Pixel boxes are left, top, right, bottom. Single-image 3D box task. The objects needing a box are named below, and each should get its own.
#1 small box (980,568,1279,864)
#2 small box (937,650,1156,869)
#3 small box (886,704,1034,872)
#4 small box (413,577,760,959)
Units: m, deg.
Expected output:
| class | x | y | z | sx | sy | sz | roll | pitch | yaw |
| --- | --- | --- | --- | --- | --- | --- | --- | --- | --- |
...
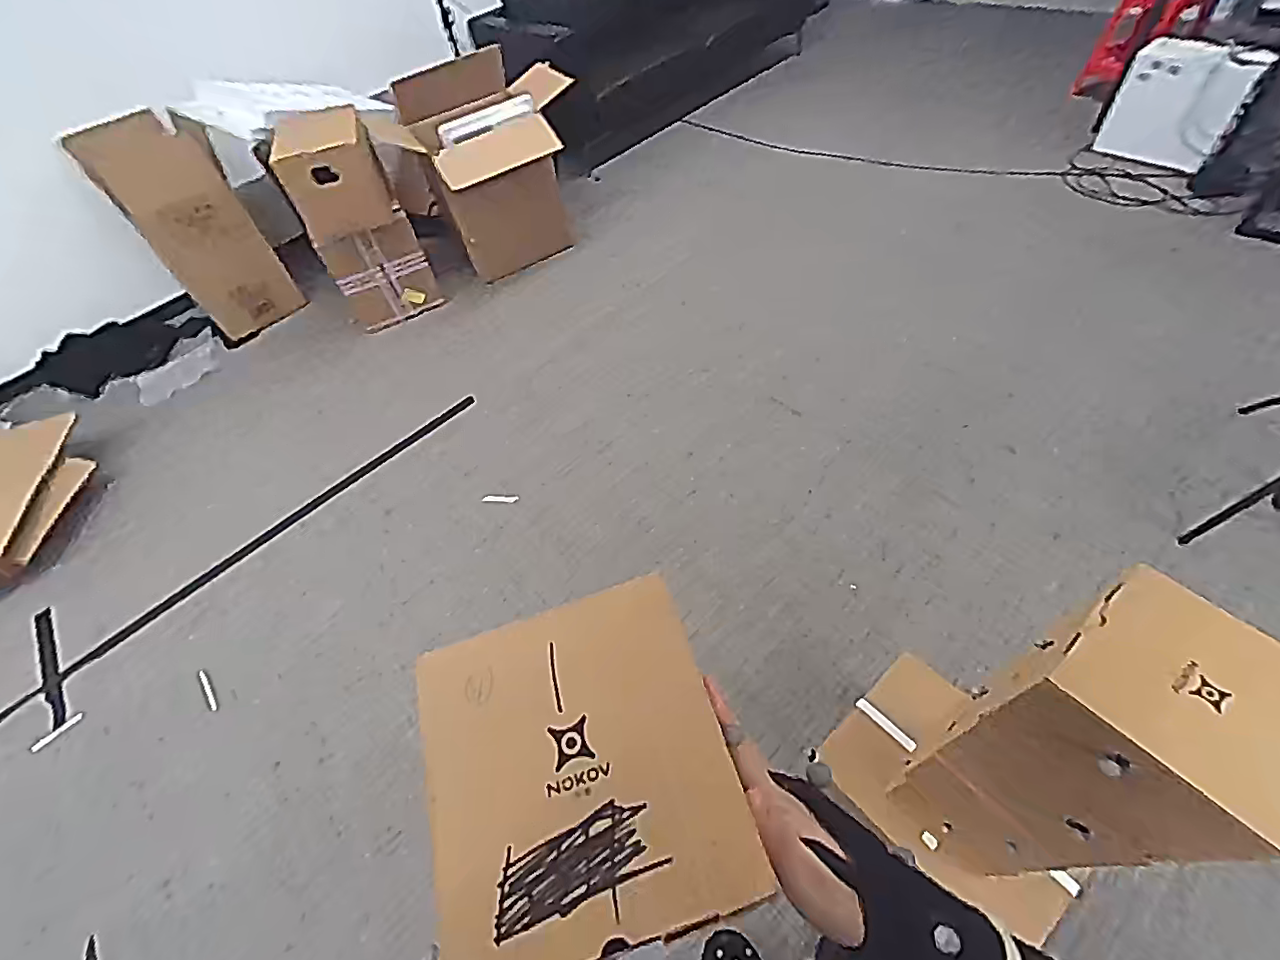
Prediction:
| class | x | y | z | sx | sy | sz | roll | pitch | yaw |
| --- | --- | --- | --- | --- | --- | --- | --- | --- | --- |
| small box | 0.478 | 0.225 | 0.519 | 0.168 | 0.176 | 0.179 | -37 | 56 | -16 |
| small box | 0.500 | 0.321 | 0.647 | 0.168 | 0.176 | 0.179 | -37 | 56 | -17 |
| small box | 0.546 | 0.518 | 0.906 | 0.168 | 0.176 | 0.179 | -41 | 59 | -19 |
| small box | -0.031 | 0.195 | 0.367 | 0.168 | 0.176 | 0.179 | -18 | 58 | -3 |
